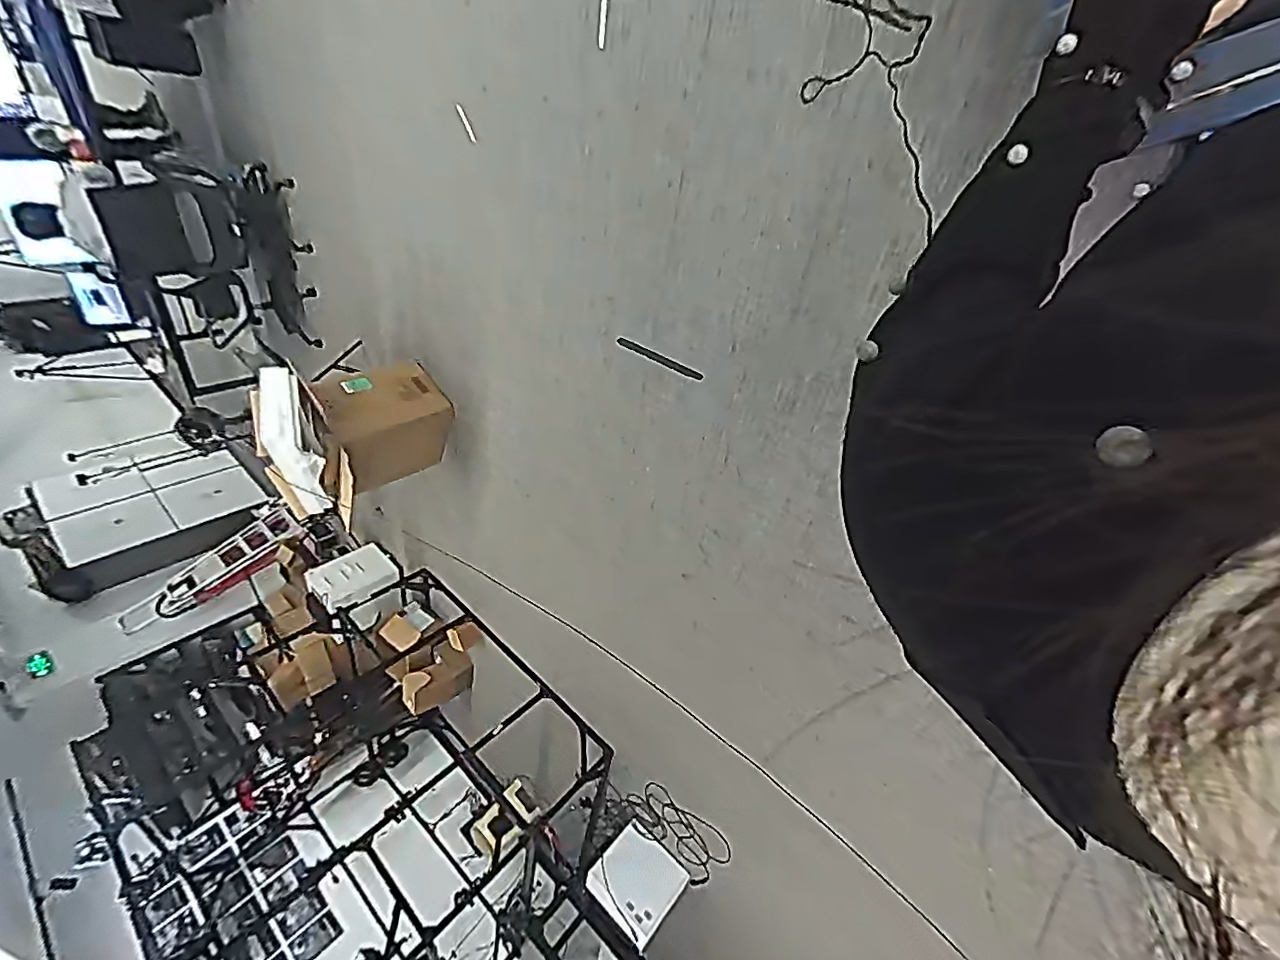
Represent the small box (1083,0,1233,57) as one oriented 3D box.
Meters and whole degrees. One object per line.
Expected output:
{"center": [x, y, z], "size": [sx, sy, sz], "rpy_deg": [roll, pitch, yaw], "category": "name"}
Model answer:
{"center": [0.720, -0.725, 0.745], "size": [0.168, 0.176, 0.179], "rpy_deg": [-7, 107, 44], "category": "small box"}
